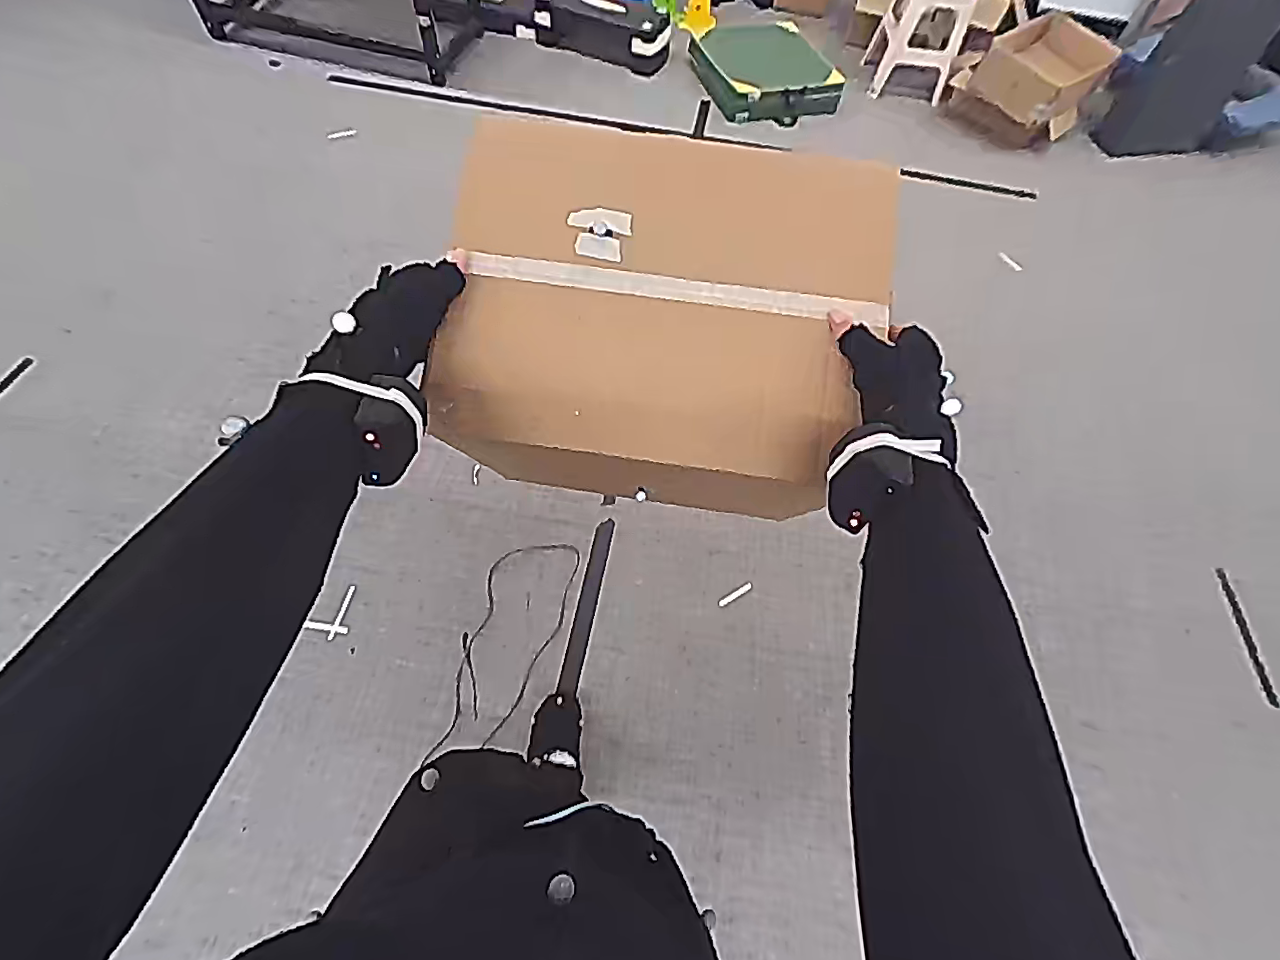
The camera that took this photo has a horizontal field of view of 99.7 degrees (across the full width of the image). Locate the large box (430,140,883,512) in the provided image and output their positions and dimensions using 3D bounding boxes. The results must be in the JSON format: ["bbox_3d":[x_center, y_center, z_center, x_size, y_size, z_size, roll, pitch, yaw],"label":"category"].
[{"bbox_3d":[0.027,-0.145,0.657,0.408,0.320,0.320,8,80,2],"label":"large box"}]
